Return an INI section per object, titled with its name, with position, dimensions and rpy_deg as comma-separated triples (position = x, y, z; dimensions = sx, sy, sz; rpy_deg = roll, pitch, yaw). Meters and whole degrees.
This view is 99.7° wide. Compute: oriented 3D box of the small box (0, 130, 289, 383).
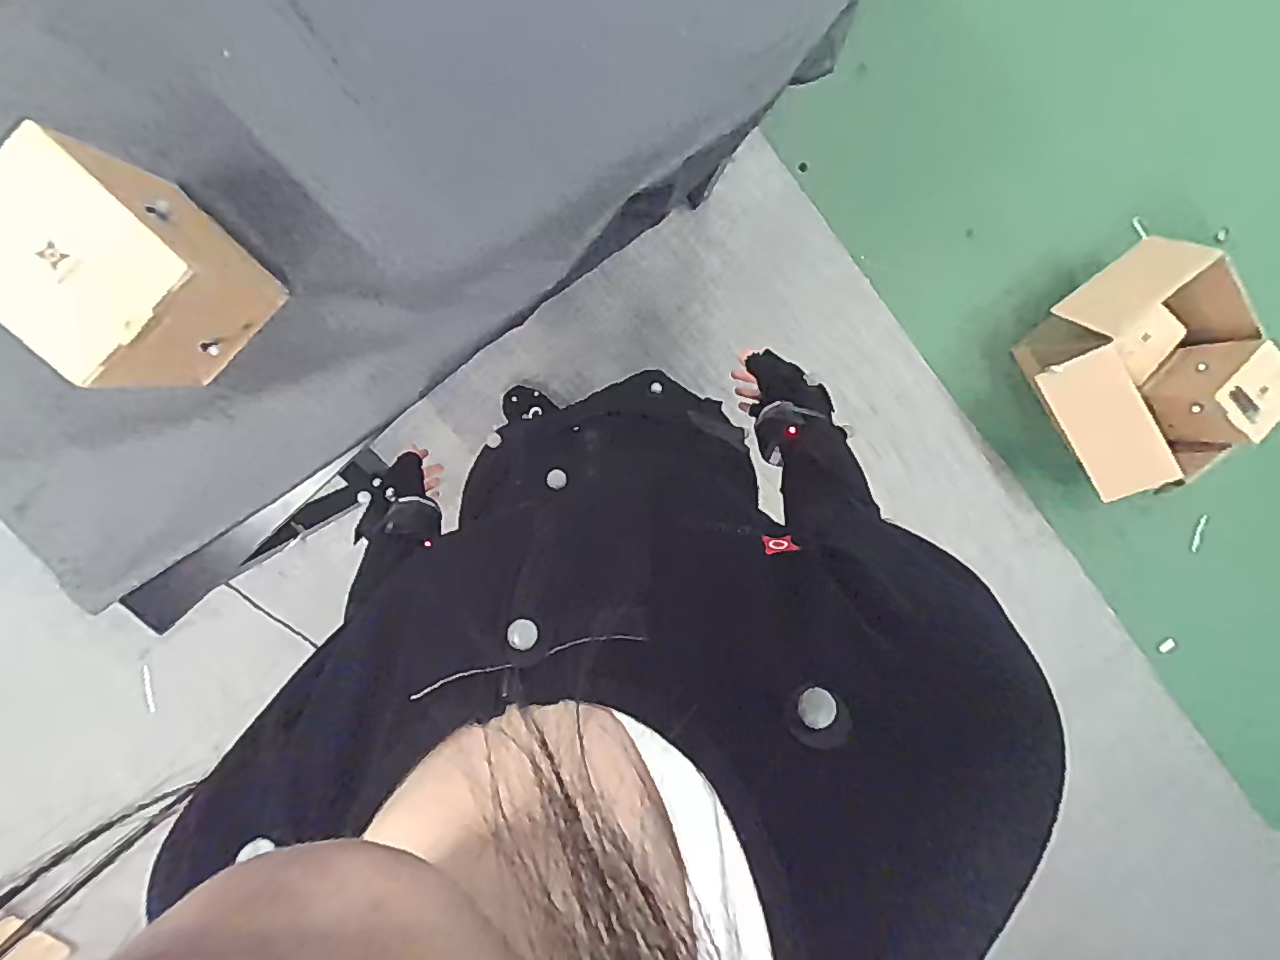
[small box]
position = -0.547, -0.221, 0.593
dimensions = 0.168, 0.176, 0.179
rpy_deg = -44, 101, 4
